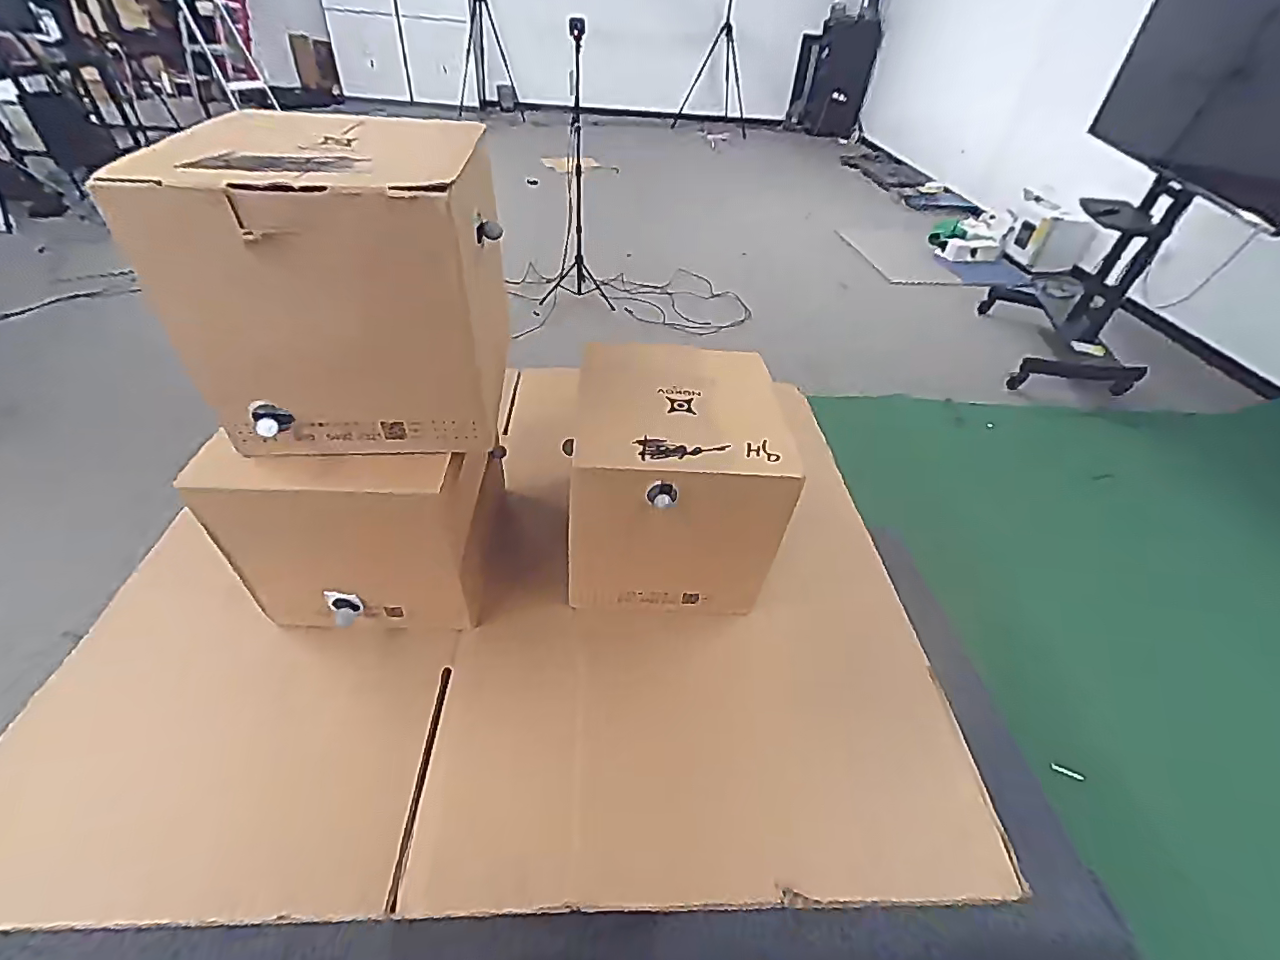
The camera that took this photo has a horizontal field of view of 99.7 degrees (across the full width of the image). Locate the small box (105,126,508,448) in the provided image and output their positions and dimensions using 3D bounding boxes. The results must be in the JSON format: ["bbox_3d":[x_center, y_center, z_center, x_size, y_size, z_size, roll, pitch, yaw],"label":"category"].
[{"bbox_3d":[-0.190,-0.135,0.382,0.168,0.176,0.179,-1,42,-6],"label":"small box"}]

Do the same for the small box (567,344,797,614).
[{"bbox_3d":[0.023,-0.002,0.492,0.168,0.176,0.179,3,42,-4],"label":"small box"}]

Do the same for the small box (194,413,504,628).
[{"bbox_3d":[-0.217,0.007,0.469,0.168,0.176,0.179,0,44,-4],"label":"small box"}]
